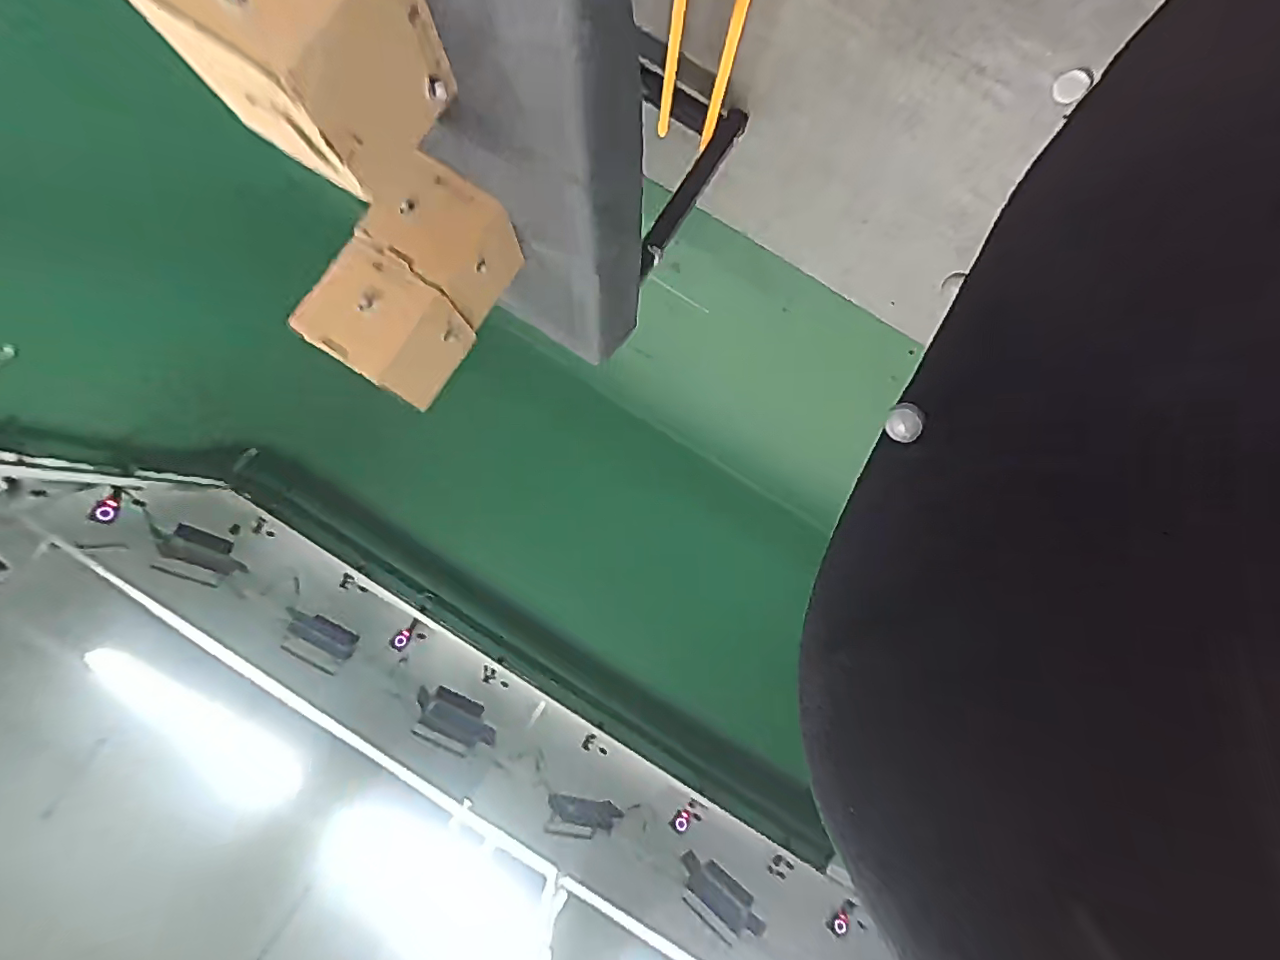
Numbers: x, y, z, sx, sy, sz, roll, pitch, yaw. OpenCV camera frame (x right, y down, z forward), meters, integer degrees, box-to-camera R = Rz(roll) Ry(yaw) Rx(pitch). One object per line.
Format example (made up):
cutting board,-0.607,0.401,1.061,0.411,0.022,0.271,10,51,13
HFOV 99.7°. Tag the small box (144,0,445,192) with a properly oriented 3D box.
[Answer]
small box,-0.313,-0.432,0.516,0.179,0.176,0.168,34,174,1

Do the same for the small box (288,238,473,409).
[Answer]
small box,-0.401,-0.247,0.869,0.168,0.176,0.179,34,173,4

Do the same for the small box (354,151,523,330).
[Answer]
small box,-0.316,-0.386,0.887,0.168,0.176,0.179,34,174,2
